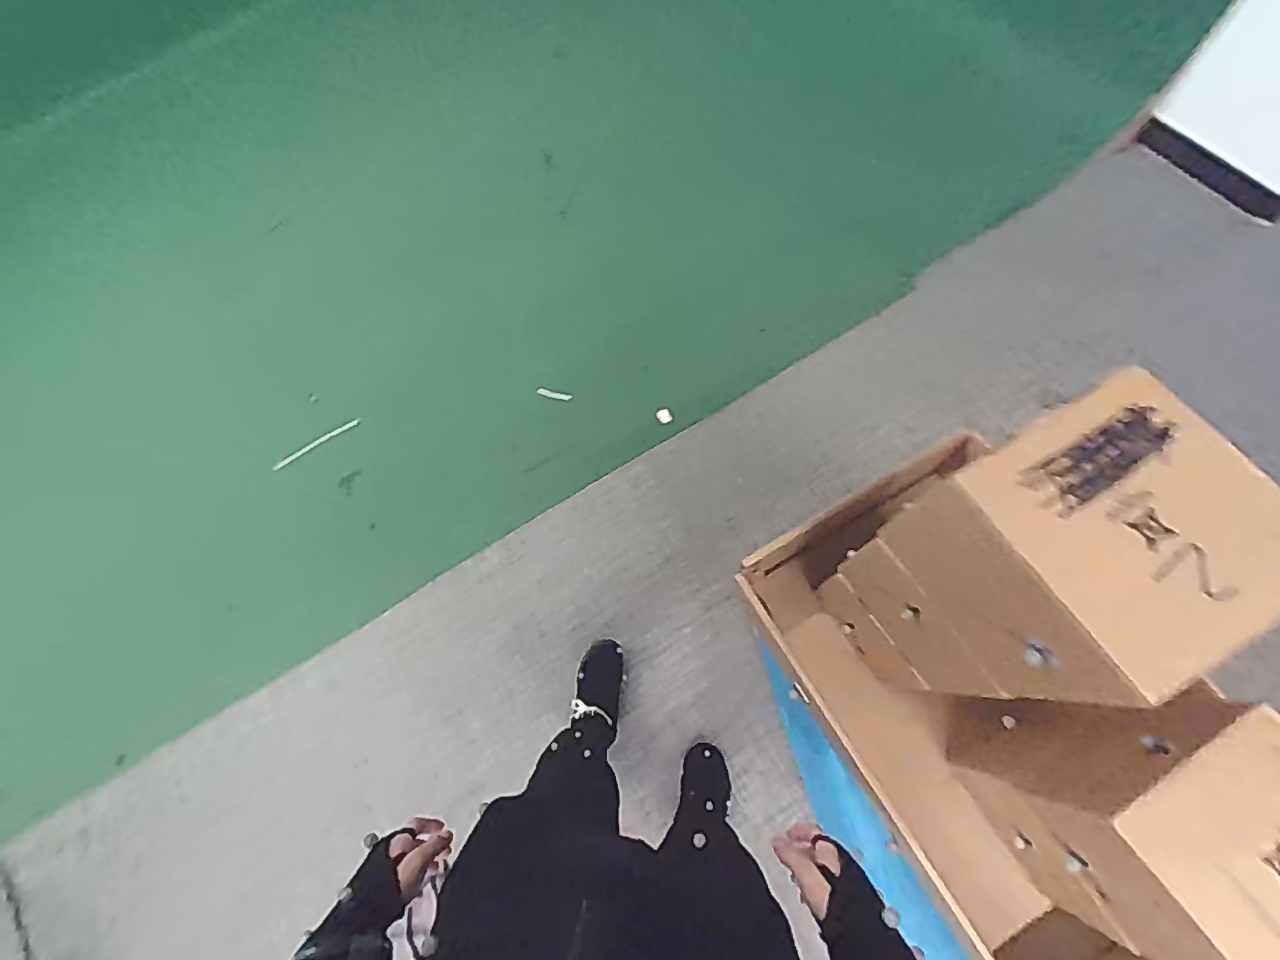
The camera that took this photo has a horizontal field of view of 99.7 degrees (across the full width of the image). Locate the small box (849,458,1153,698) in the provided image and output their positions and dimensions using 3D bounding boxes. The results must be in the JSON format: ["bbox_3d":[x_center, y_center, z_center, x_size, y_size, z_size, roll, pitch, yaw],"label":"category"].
[{"bbox_3d":[0.357,0.112,0.580,0.168,0.176,0.179,-32,70,-5],"label":"small box"}]

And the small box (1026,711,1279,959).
[{"bbox_3d":[0.505,0.324,0.482,0.179,0.176,0.168,-31,67,-5],"label":"small box"}]
